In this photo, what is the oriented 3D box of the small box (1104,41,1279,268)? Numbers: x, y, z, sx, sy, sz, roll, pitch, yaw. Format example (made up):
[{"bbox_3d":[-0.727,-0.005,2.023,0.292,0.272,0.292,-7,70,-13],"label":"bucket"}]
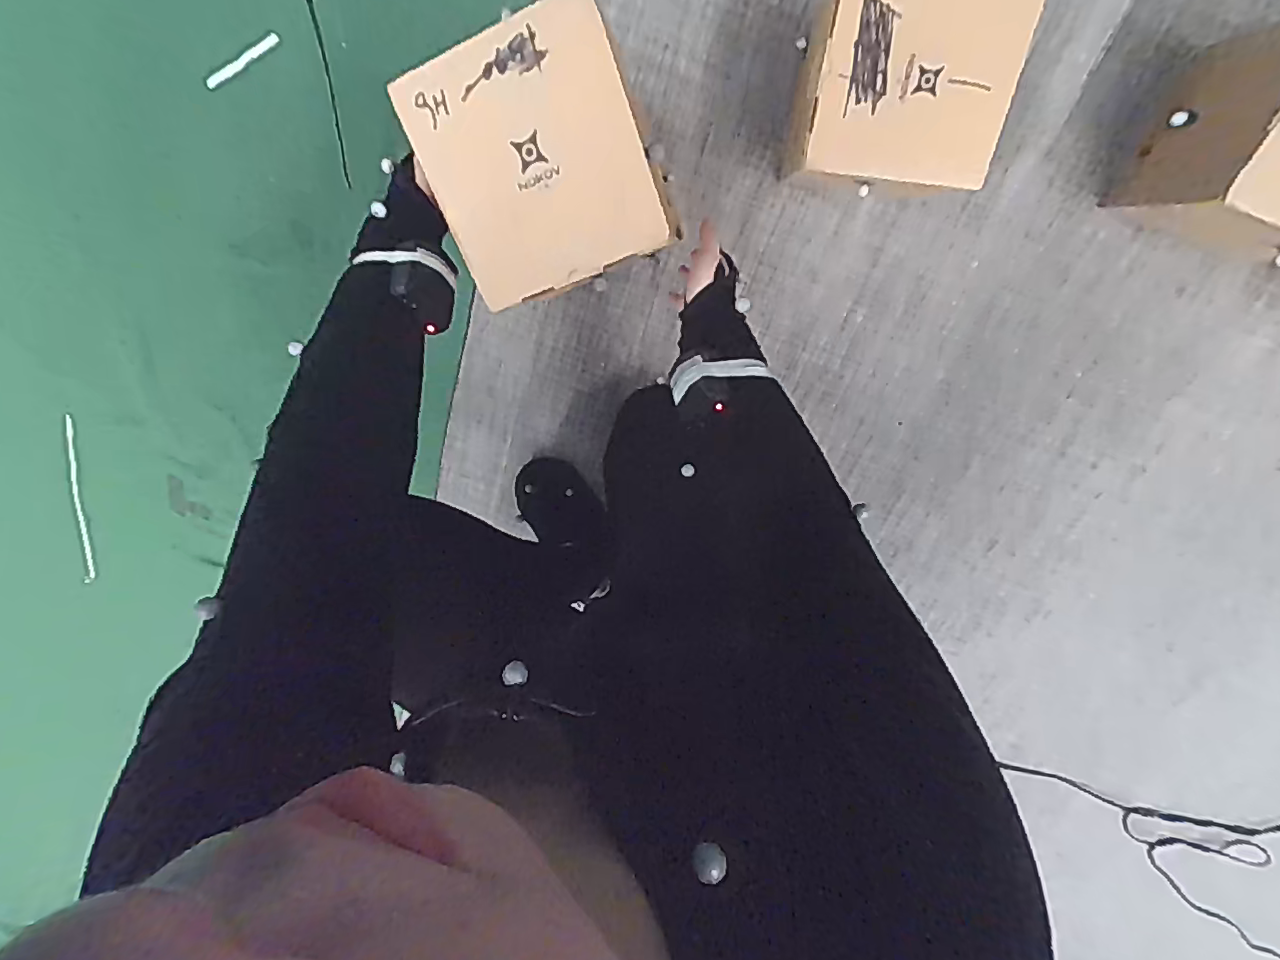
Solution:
[{"bbox_3d":[0.653,-0.327,0.552,0.179,0.176,0.168,20,115,-3],"label":"small box"}]

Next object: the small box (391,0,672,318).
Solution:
[{"bbox_3d":[-0.073,-0.267,0.484,0.168,0.176,0.179,-16,112,12],"label":"small box"}]
